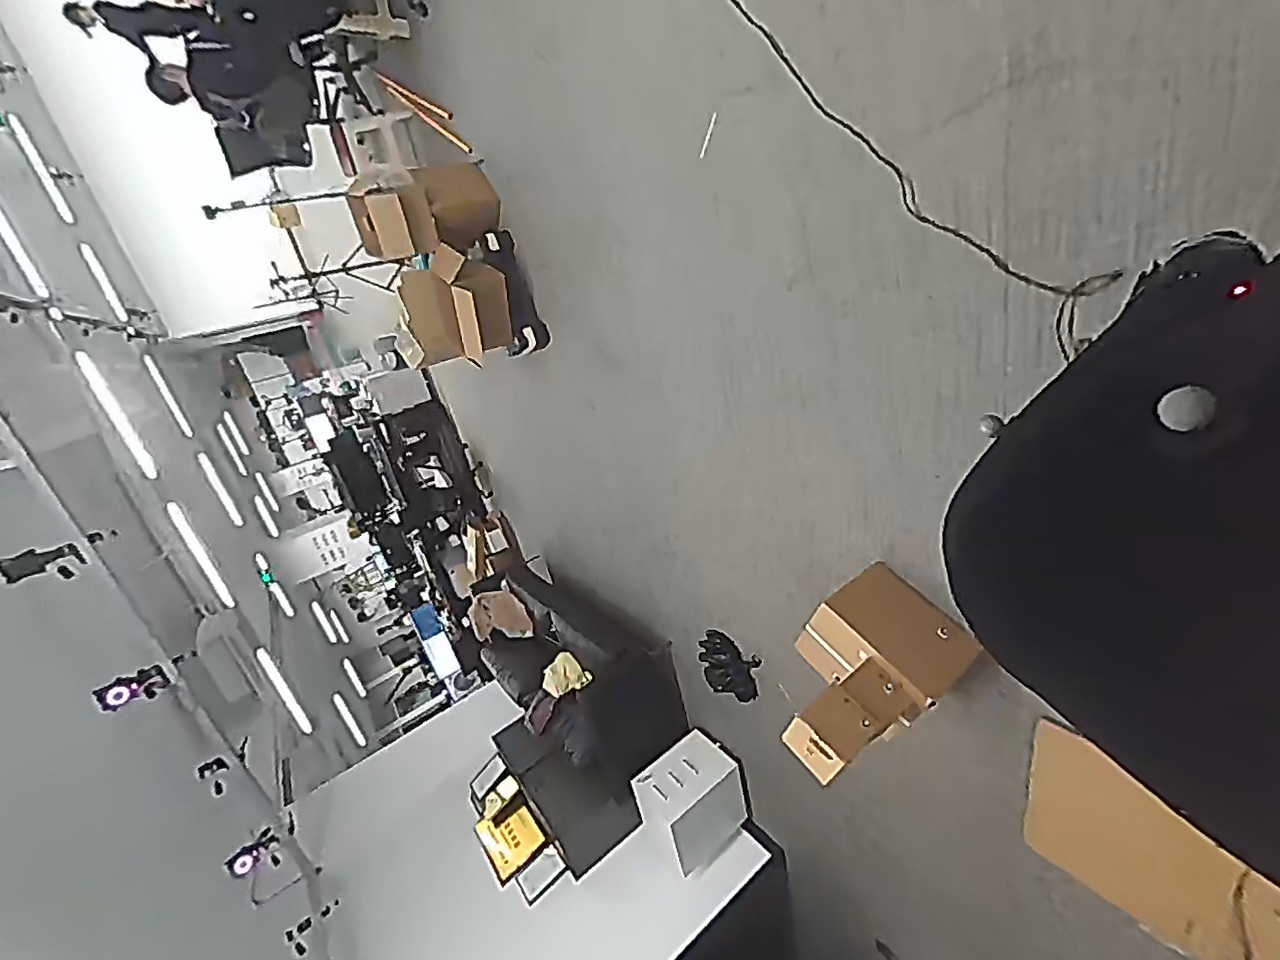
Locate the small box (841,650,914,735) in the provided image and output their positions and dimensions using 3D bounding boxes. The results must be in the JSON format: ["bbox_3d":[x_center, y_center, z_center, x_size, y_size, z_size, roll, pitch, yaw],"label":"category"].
[{"bbox_3d":[0.689,0.653,1.636,0.168,0.176,0.179,46,145,28],"label":"small box"}]

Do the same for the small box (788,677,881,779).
[{"bbox_3d":[0.559,0.703,1.548,0.168,0.176,0.179,41,142,35],"label":"small box"}]
